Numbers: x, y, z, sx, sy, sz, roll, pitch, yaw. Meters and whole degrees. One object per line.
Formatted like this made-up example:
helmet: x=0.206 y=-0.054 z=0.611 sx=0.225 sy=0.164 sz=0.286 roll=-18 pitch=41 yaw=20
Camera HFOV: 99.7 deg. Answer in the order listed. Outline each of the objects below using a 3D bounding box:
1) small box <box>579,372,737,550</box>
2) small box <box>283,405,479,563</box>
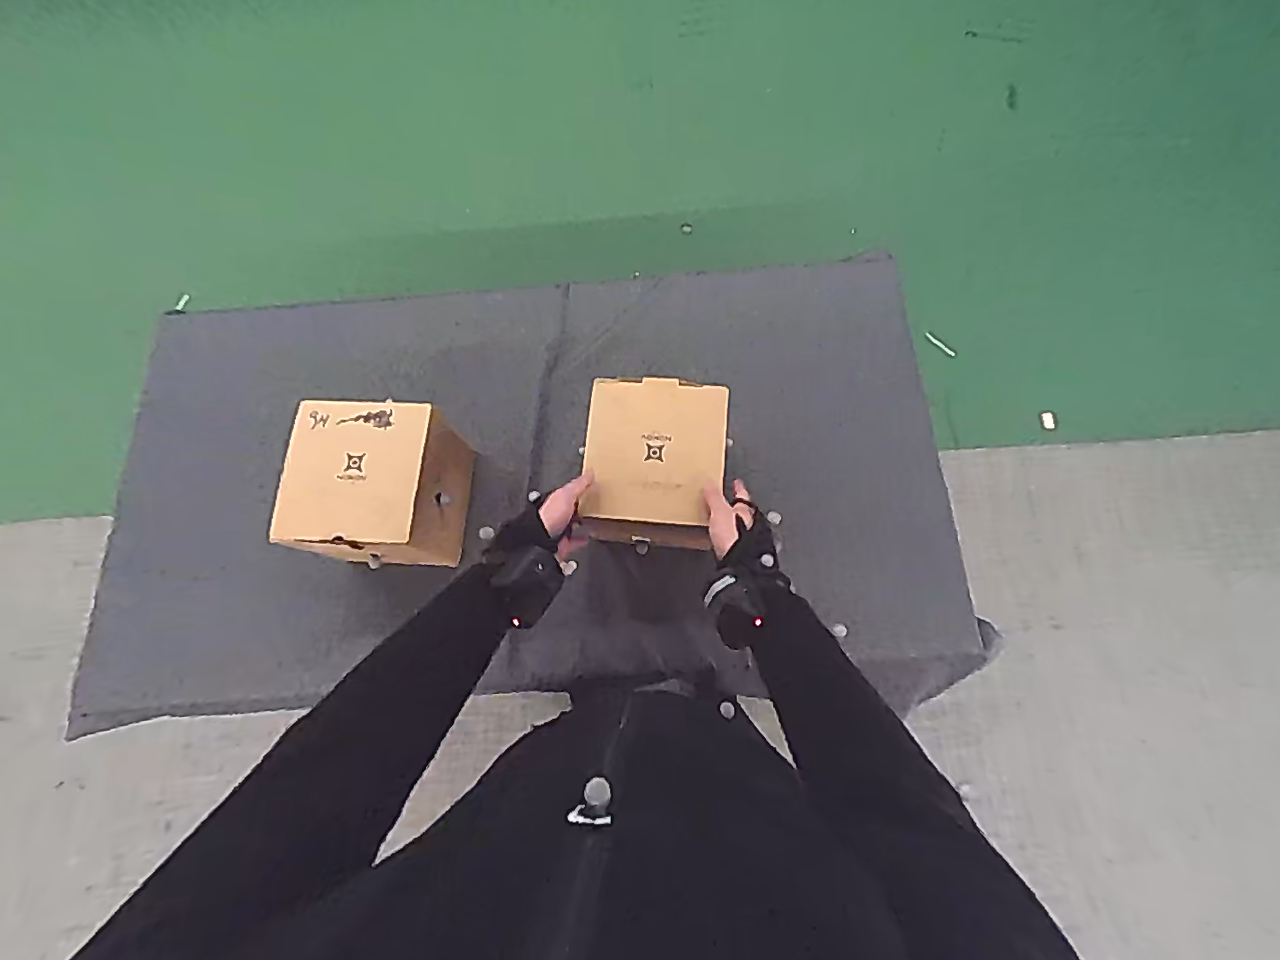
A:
small box: x=0.027 y=-0.017 z=0.694 sx=0.168 sy=0.176 sz=0.179 roll=5 pitch=74 yaw=6
small box: x=-0.326 y=0.015 z=0.718 sx=0.168 sy=0.176 sz=0.179 roll=-1 pitch=73 yaw=3
